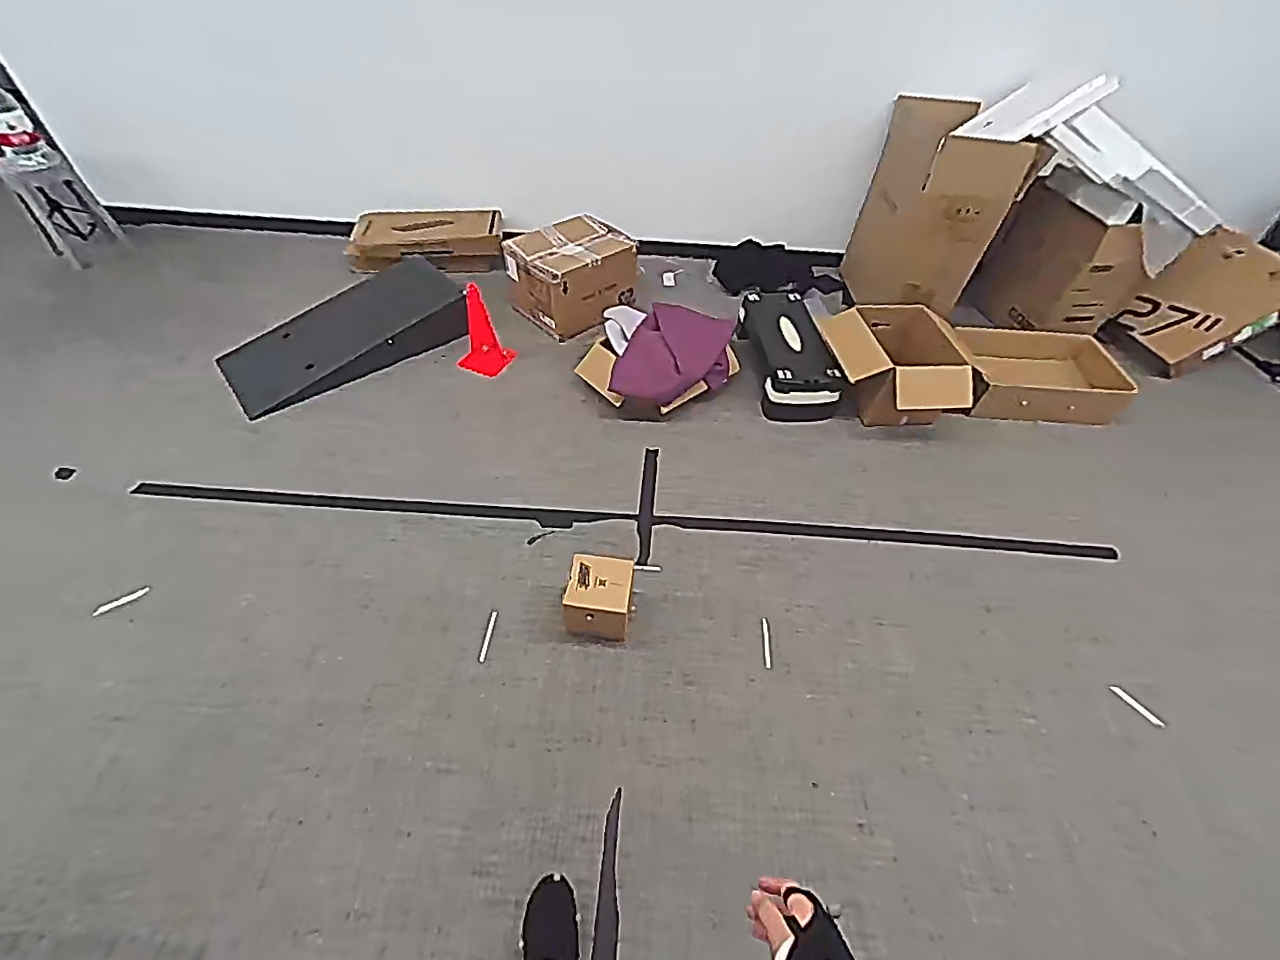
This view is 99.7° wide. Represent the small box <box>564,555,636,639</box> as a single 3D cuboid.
[{"bbox_3d":[-0.111,0.338,1.548,0.179,0.176,0.168,7,49,3],"label":"small box"}]
